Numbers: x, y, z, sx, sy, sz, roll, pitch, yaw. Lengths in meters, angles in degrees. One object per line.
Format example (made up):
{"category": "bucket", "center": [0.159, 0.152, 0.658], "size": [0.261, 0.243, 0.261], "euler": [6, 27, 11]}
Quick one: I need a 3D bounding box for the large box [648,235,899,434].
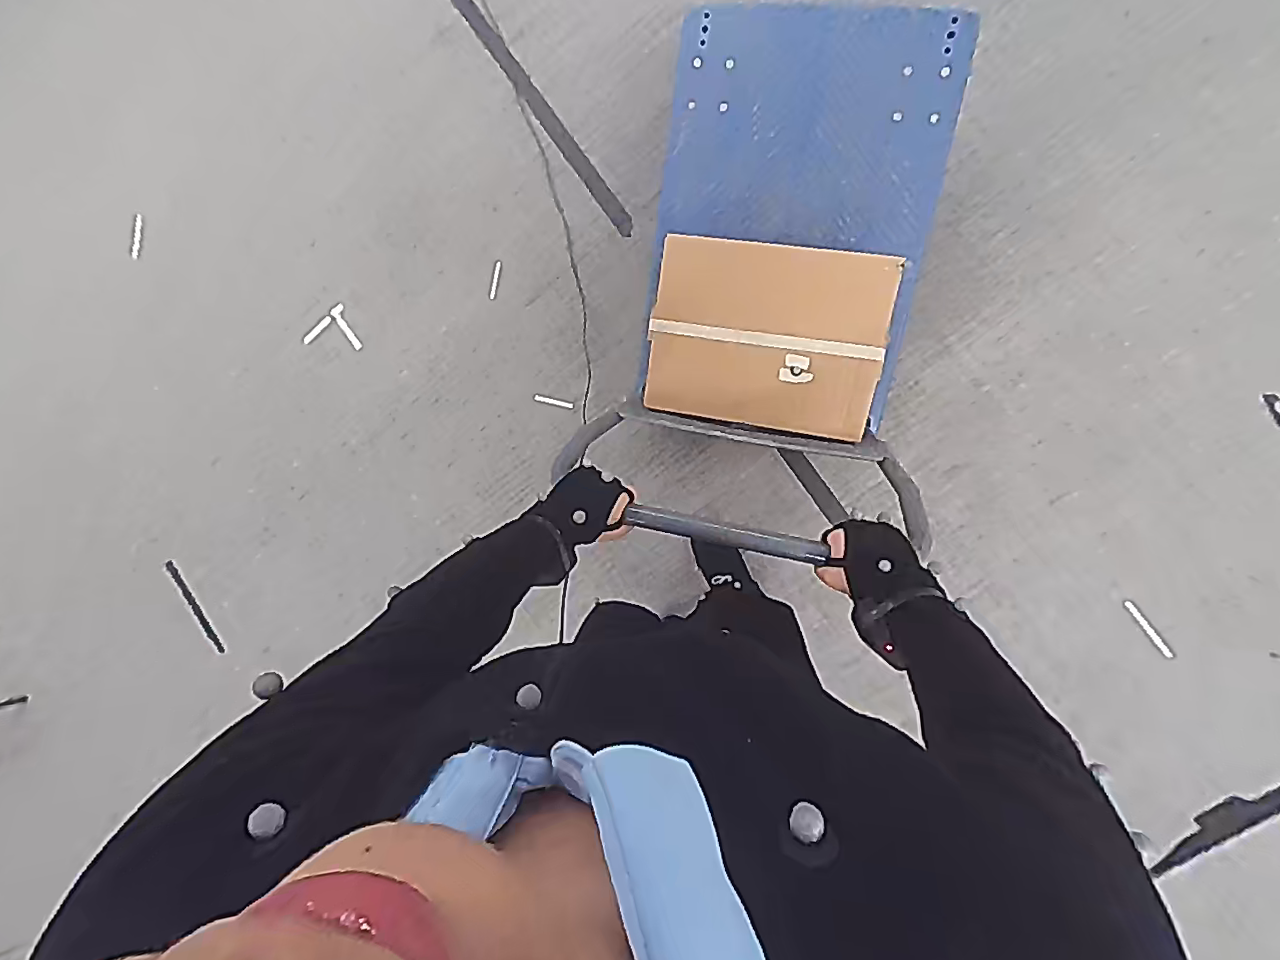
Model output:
{"category": "large box", "center": [0.254, -0.295, 1.118], "size": [0.408, 0.320, 0.320], "euler": [11, 106, 10]}
